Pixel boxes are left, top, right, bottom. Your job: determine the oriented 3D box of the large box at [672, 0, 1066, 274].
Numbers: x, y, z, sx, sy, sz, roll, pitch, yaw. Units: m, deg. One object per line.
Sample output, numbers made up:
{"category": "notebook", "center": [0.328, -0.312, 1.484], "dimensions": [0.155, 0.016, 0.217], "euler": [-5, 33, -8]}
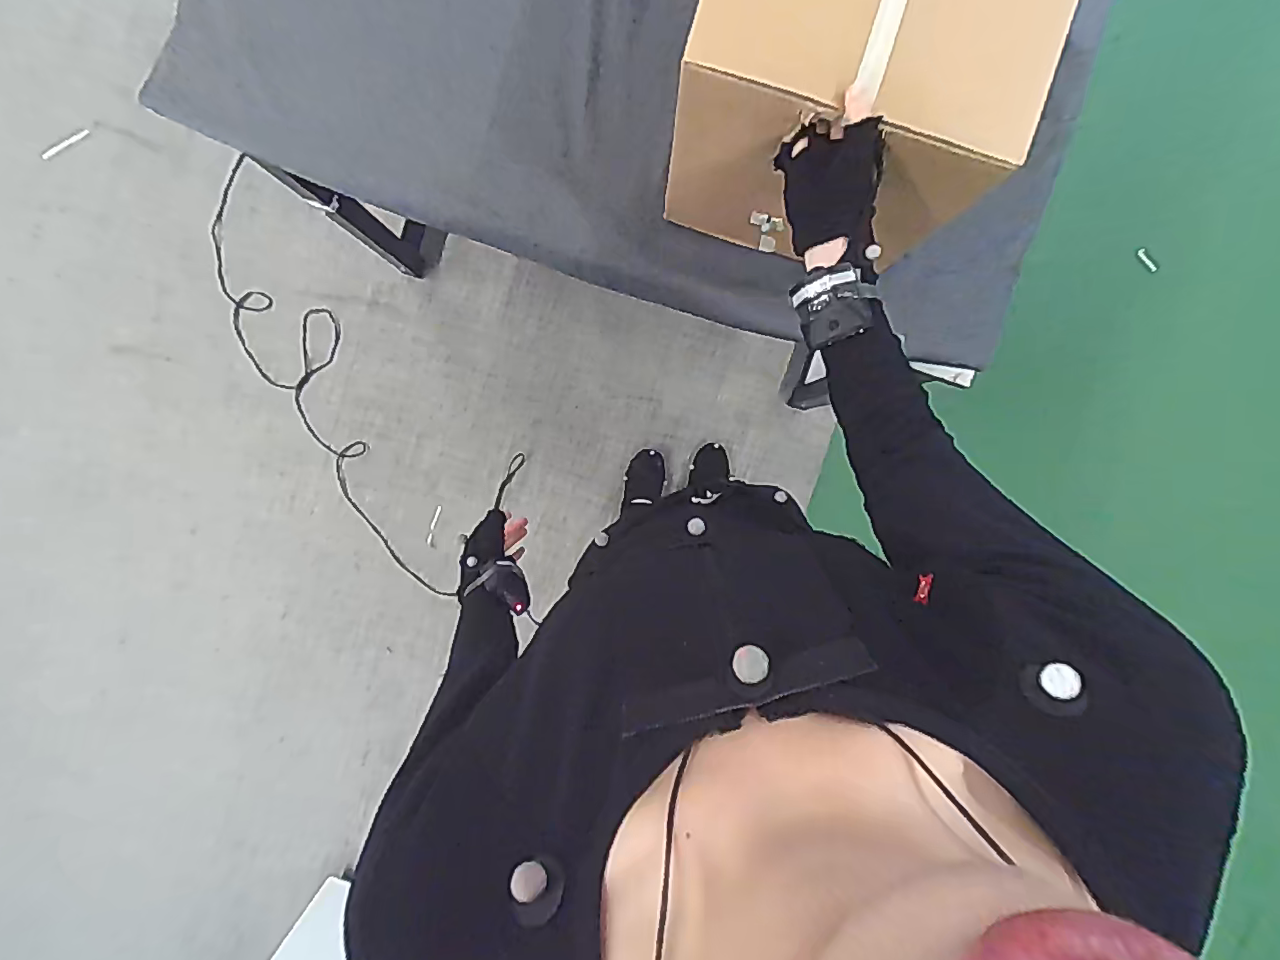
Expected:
{"category": "large box", "center": [0.236, -0.511, 0.611], "dimensions": [0.320, 0.320, 0.408], "euler": [16, 91, -1]}
